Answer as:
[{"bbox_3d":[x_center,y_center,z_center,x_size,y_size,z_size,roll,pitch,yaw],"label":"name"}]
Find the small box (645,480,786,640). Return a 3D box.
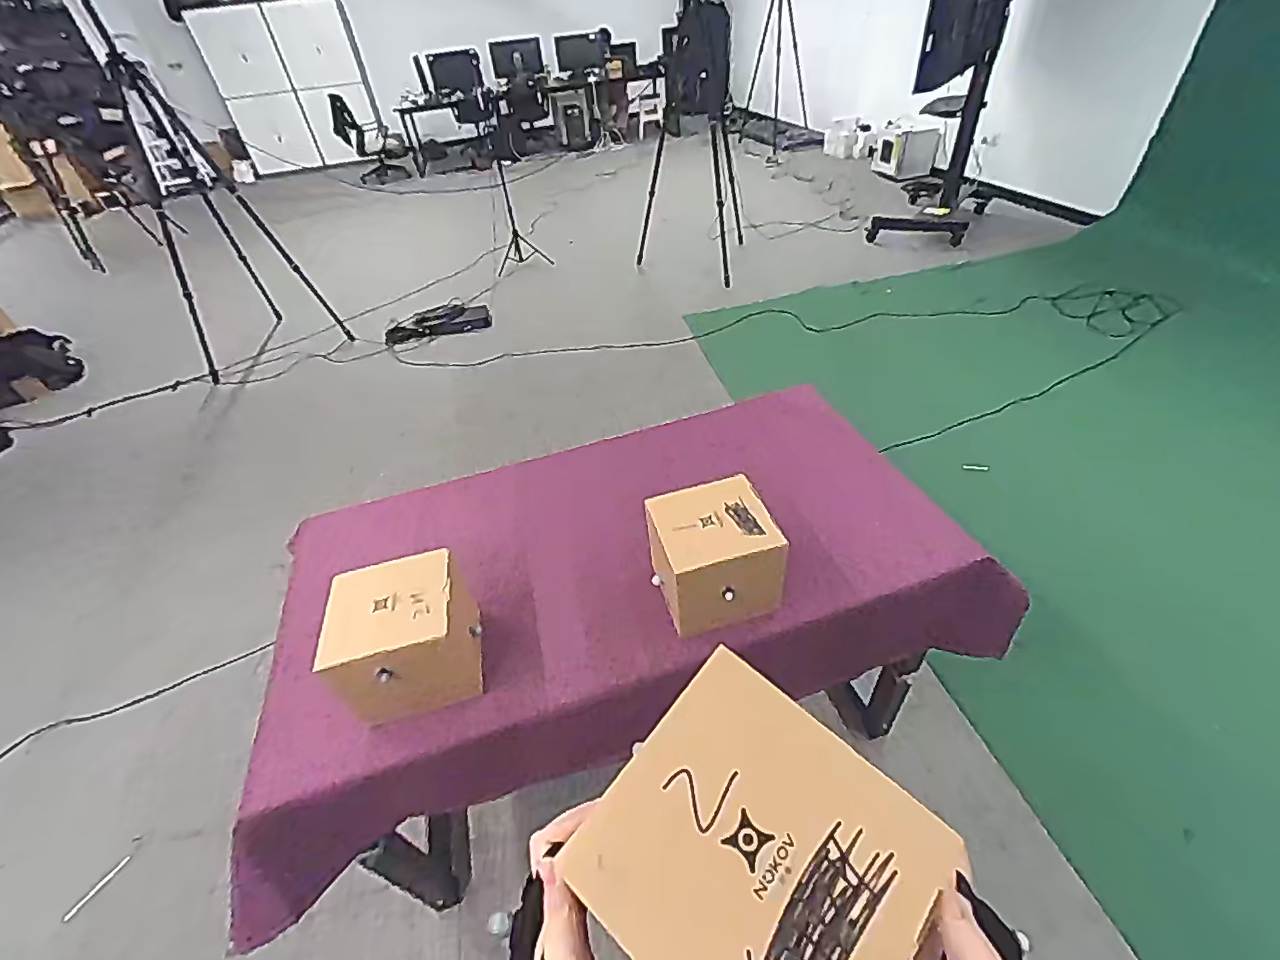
[{"bbox_3d":[0.118,0.131,0.882,0.179,0.176,0.168,-15,41,-7],"label":"small box"}]

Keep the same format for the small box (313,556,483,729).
[{"bbox_3d":[-0.350,0.248,0.819,0.179,0.176,0.168,-14,41,-7],"label":"small box"}]
